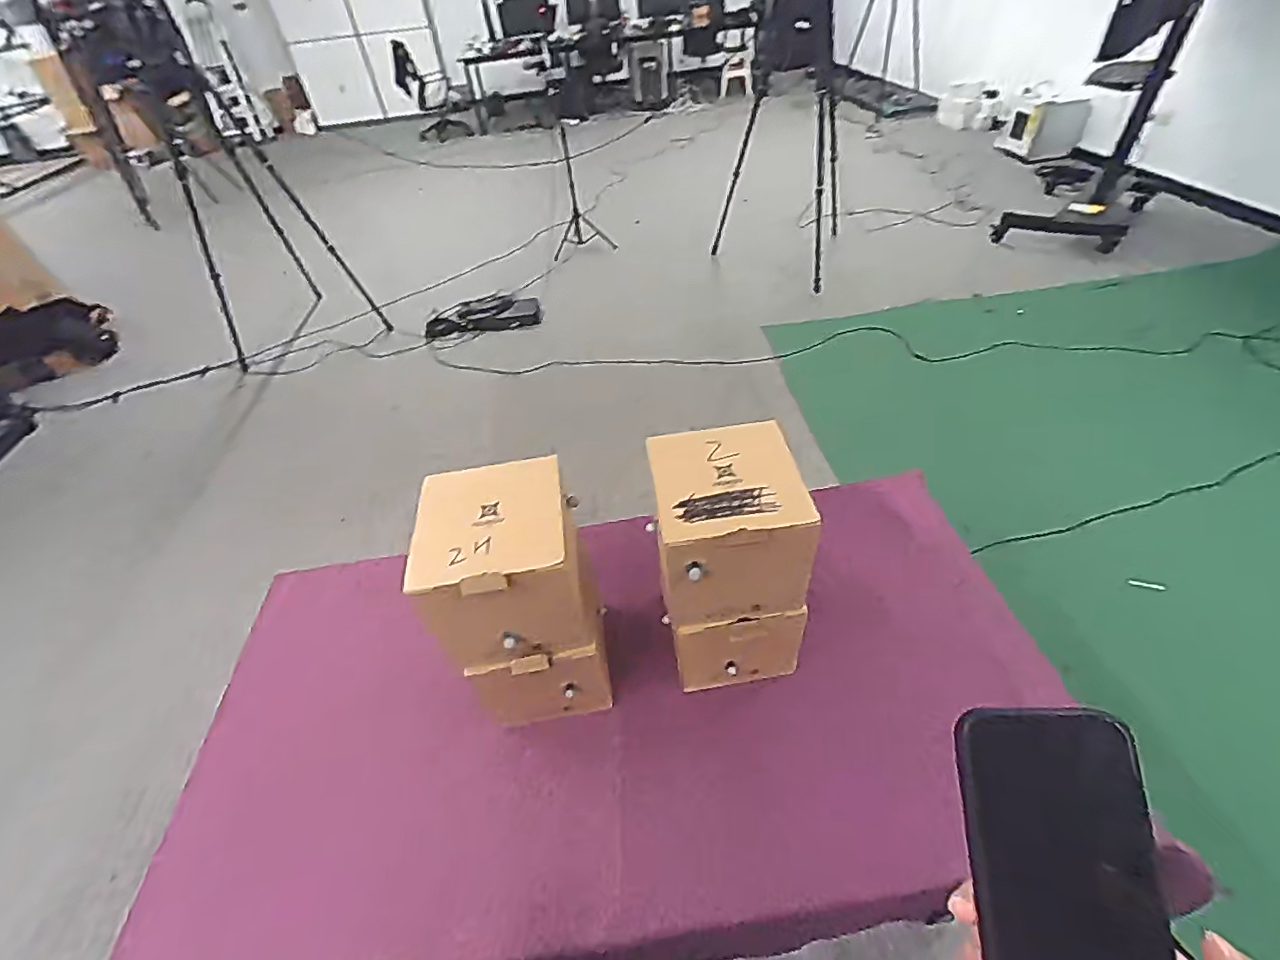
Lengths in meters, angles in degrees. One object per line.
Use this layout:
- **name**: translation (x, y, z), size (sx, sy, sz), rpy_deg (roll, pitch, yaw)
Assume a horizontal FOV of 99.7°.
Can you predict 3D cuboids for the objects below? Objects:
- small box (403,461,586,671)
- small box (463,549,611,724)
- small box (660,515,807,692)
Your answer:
- **small box**: translation (-0.163, 0.105, 0.661), size (0.168, 0.176, 0.179), rpy_deg (-10, 44, -2)
- **small box**: translation (-0.137, 0.227, 0.769), size (0.168, 0.176, 0.179), rpy_deg (-9, 43, -2)
- **small box**: translation (0.124, 0.178, 0.783), size (0.168, 0.176, 0.179), rpy_deg (-9, 45, -2)
